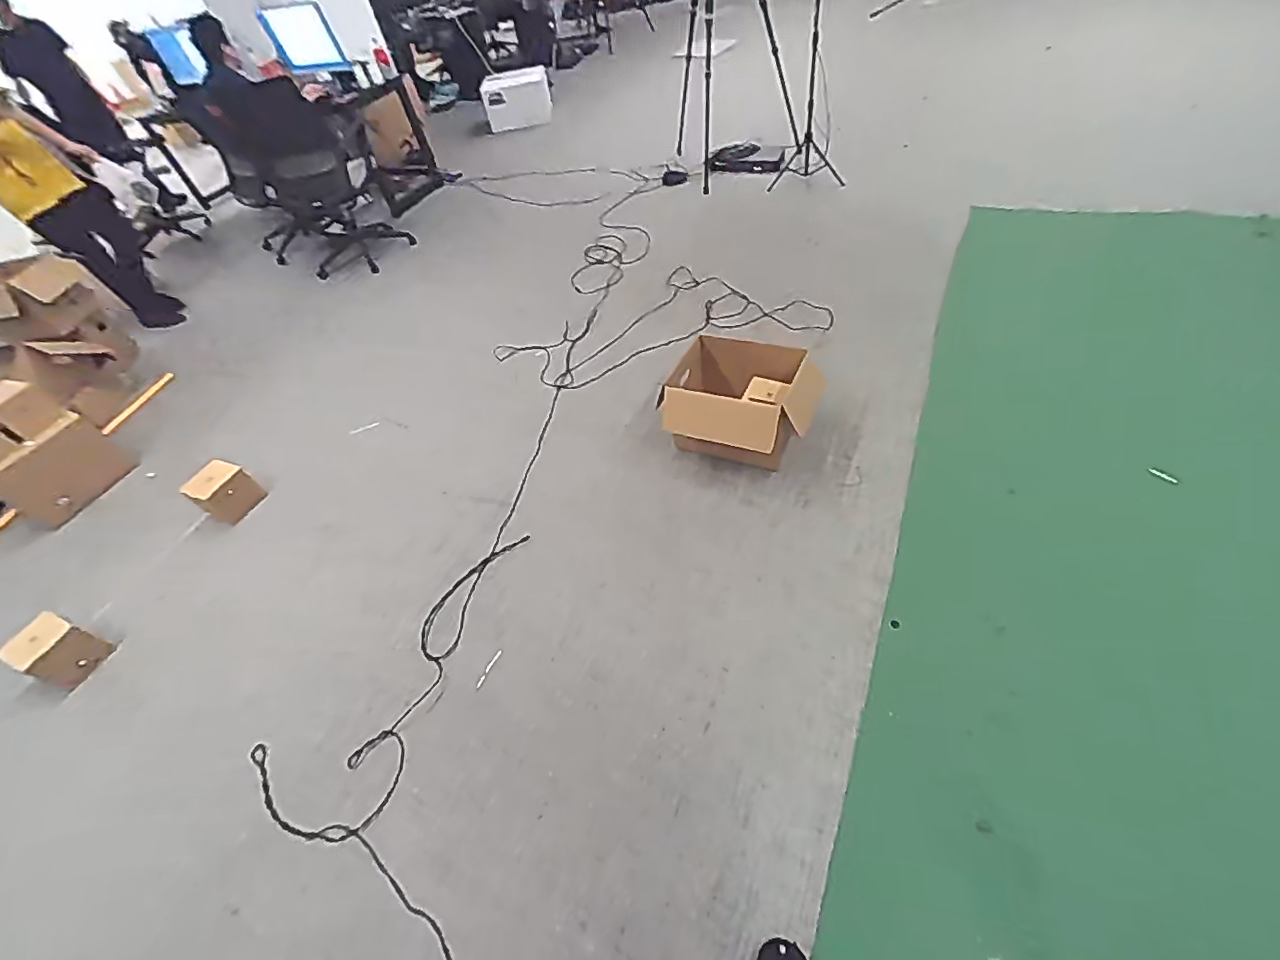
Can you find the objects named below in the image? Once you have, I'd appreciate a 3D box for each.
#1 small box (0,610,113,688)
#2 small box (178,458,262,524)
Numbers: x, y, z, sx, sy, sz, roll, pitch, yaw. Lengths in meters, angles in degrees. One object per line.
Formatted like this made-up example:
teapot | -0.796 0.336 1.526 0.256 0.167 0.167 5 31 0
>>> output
small box | -1.908 0.557 1.766 0.179 0.176 0.168 13 54 21
small box | -1.654 0.046 2.146 0.168 0.176 0.179 14 55 21
